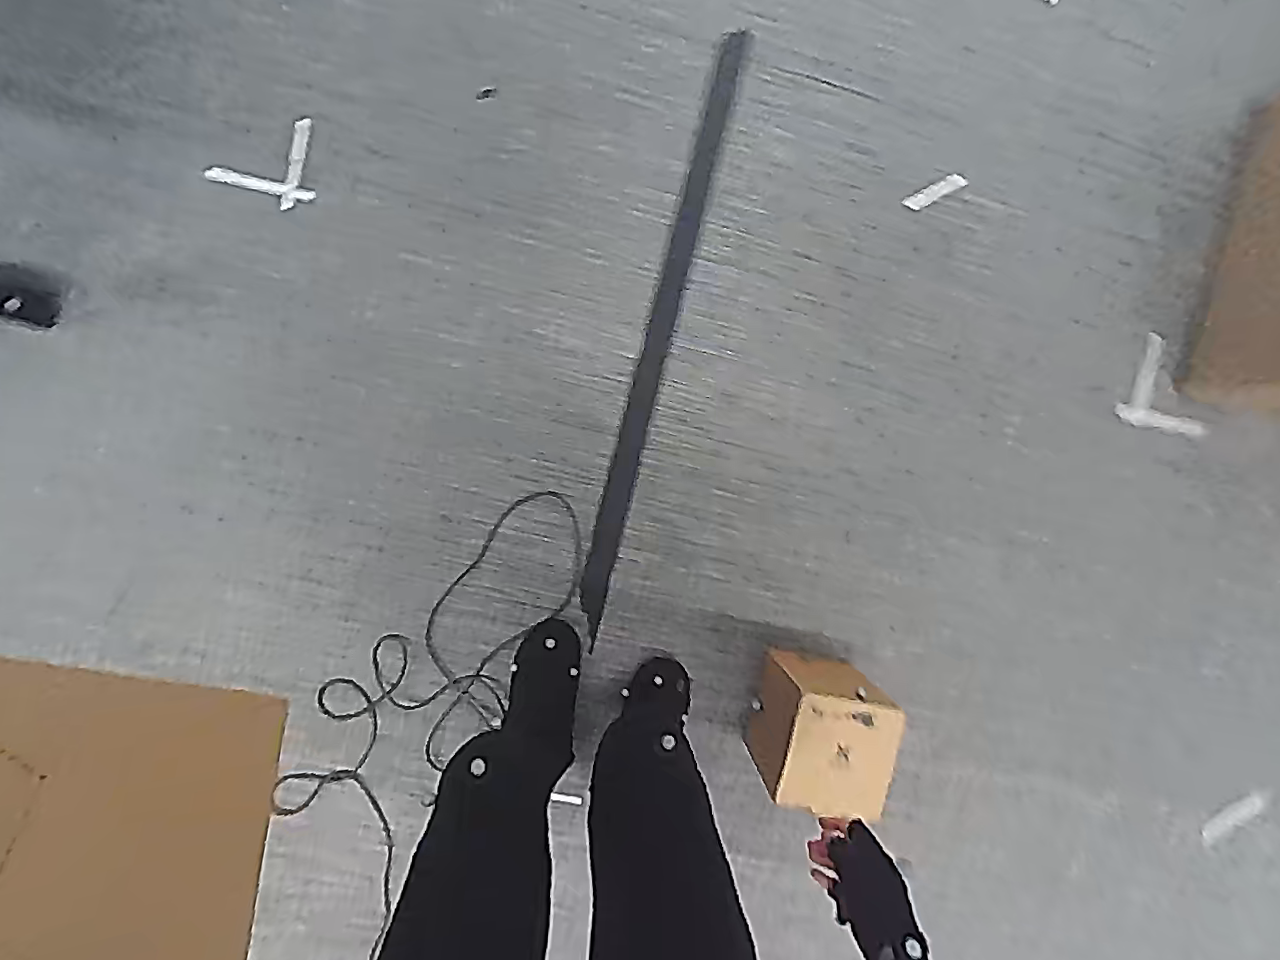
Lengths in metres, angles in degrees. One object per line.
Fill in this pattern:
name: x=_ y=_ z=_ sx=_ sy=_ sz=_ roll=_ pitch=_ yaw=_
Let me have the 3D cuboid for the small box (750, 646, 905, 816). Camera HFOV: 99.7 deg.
small box: x=0.287 y=0.394 z=0.871 sx=0.168 sy=0.176 sz=0.179 roll=12 pitch=94 yaw=-5

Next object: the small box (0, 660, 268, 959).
small box: x=-0.283 y=0.193 z=0.216 sx=0.176 sy=0.168 sz=0.179 roll=-46 pitch=130 yaw=13
